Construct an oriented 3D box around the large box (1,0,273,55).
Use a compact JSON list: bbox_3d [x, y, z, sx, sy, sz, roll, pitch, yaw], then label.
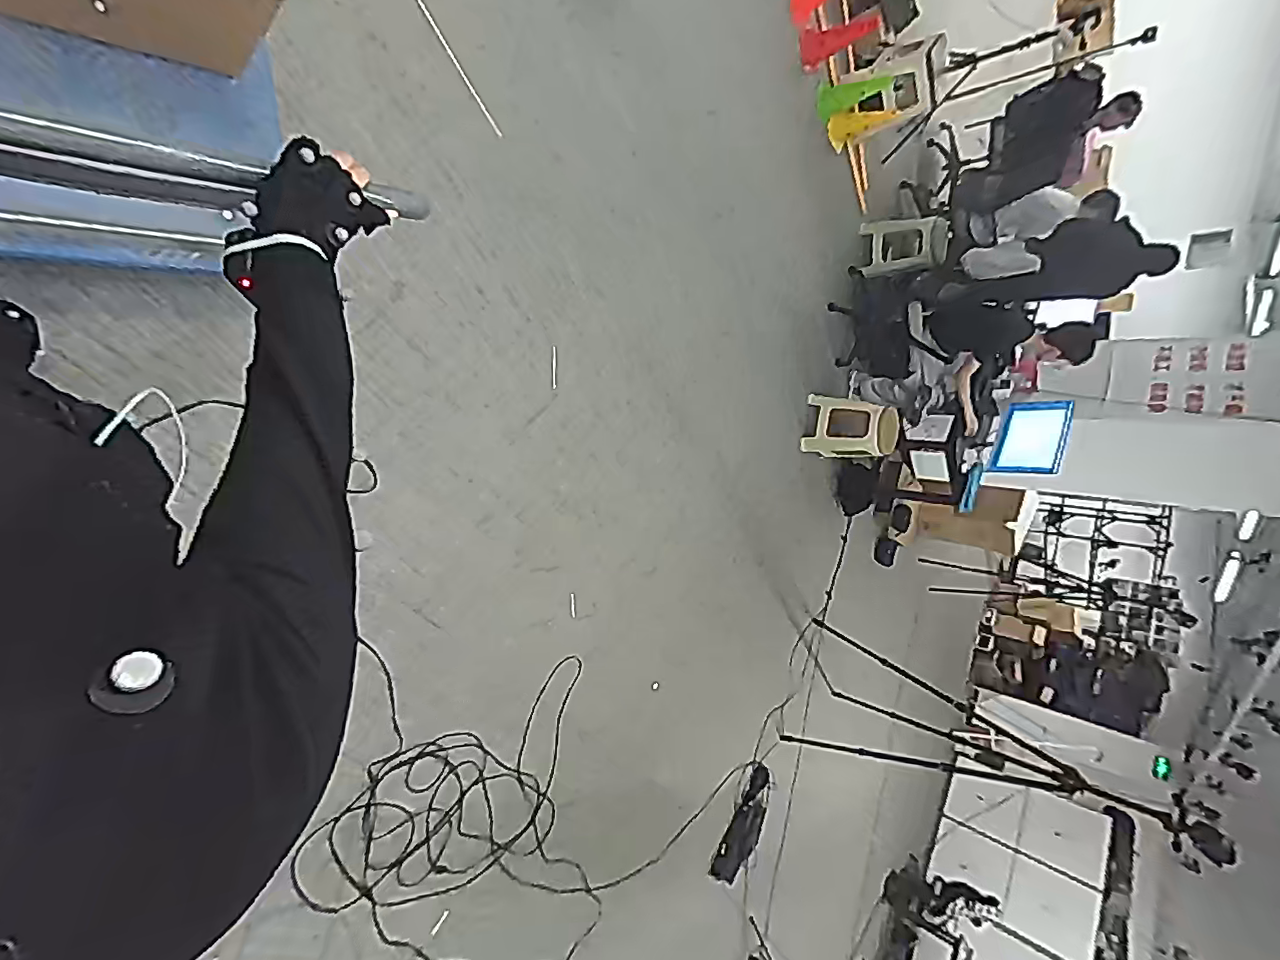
[{"bbox_3d":[-0.787,-0.863,0.734,0.408,0.320,0.320,-19,110,-44],"label":"large box"}]
